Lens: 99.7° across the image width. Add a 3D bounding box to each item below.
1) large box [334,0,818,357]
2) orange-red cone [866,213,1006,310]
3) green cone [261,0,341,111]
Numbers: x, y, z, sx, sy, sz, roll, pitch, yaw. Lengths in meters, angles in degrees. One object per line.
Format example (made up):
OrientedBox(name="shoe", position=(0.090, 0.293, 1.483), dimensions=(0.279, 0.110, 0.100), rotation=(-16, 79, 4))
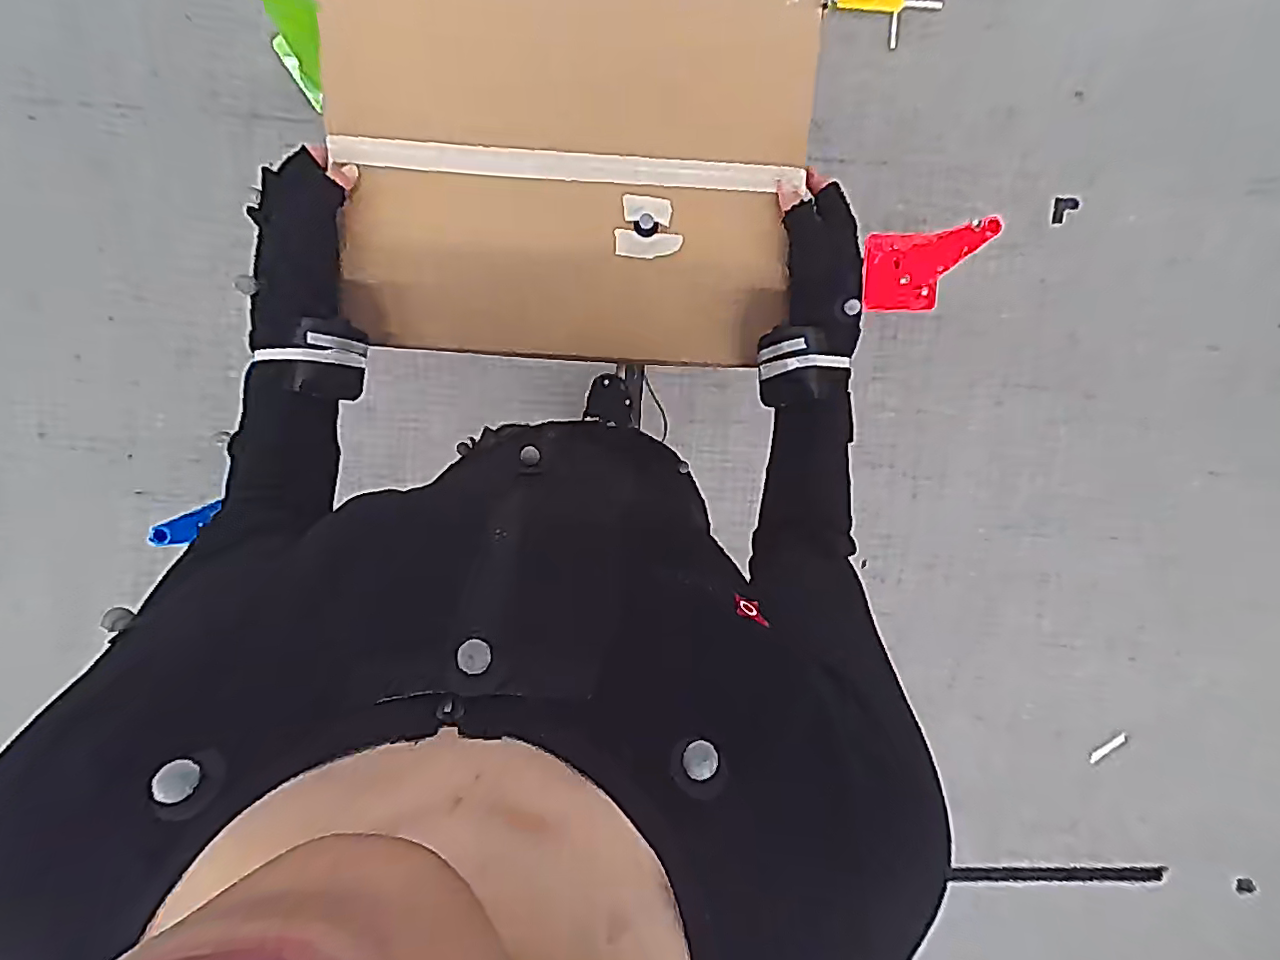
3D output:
OrientedBox(name="large box", position=(-0.062, -0.307, 0.612), dimensions=(0.408, 0.320, 0.320), rotation=(2, 102, -3))
OrientedBox(name="orange-red cone", position=(0.710, -0.541, 1.267), dimensions=(0.198, 0.360, 0.199), rotation=(0, 95, -4))
OrientedBox(name="green cone", position=(-0.748, -1.013, 1.140), dimensions=(0.202, 0.368, 0.200), rotation=(-34, 96, 3))
